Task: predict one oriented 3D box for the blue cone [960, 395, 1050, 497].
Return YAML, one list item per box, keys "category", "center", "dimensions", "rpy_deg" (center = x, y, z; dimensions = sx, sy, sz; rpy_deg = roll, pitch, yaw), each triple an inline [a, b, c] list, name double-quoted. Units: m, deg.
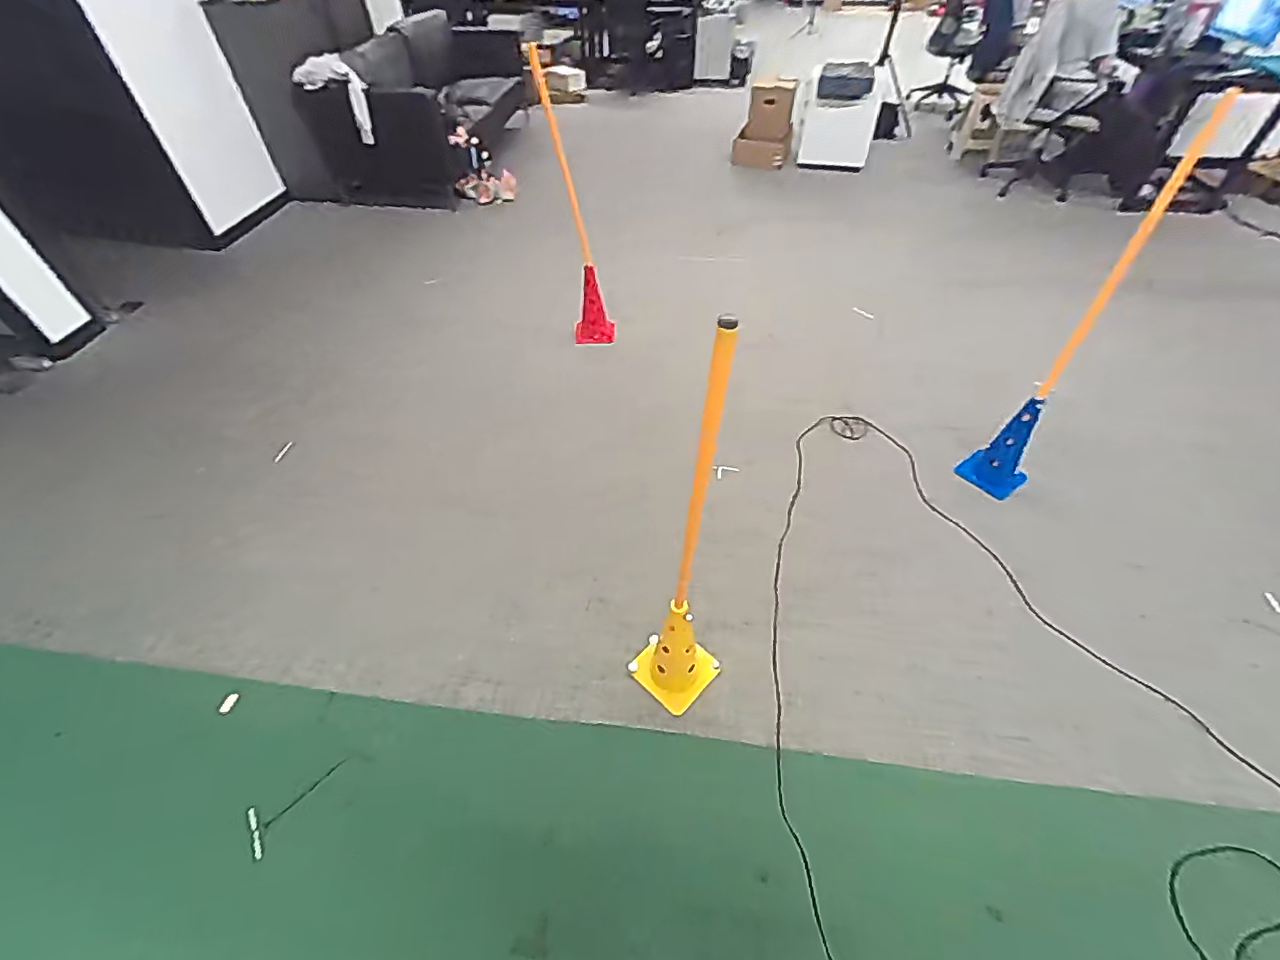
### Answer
- category: "blue cone"
  center: [1.321, -0.141, 1.914]
  dimensions: [0.193, 0.380, 0.192]
  rpy_deg: [-29, 52, -27]
